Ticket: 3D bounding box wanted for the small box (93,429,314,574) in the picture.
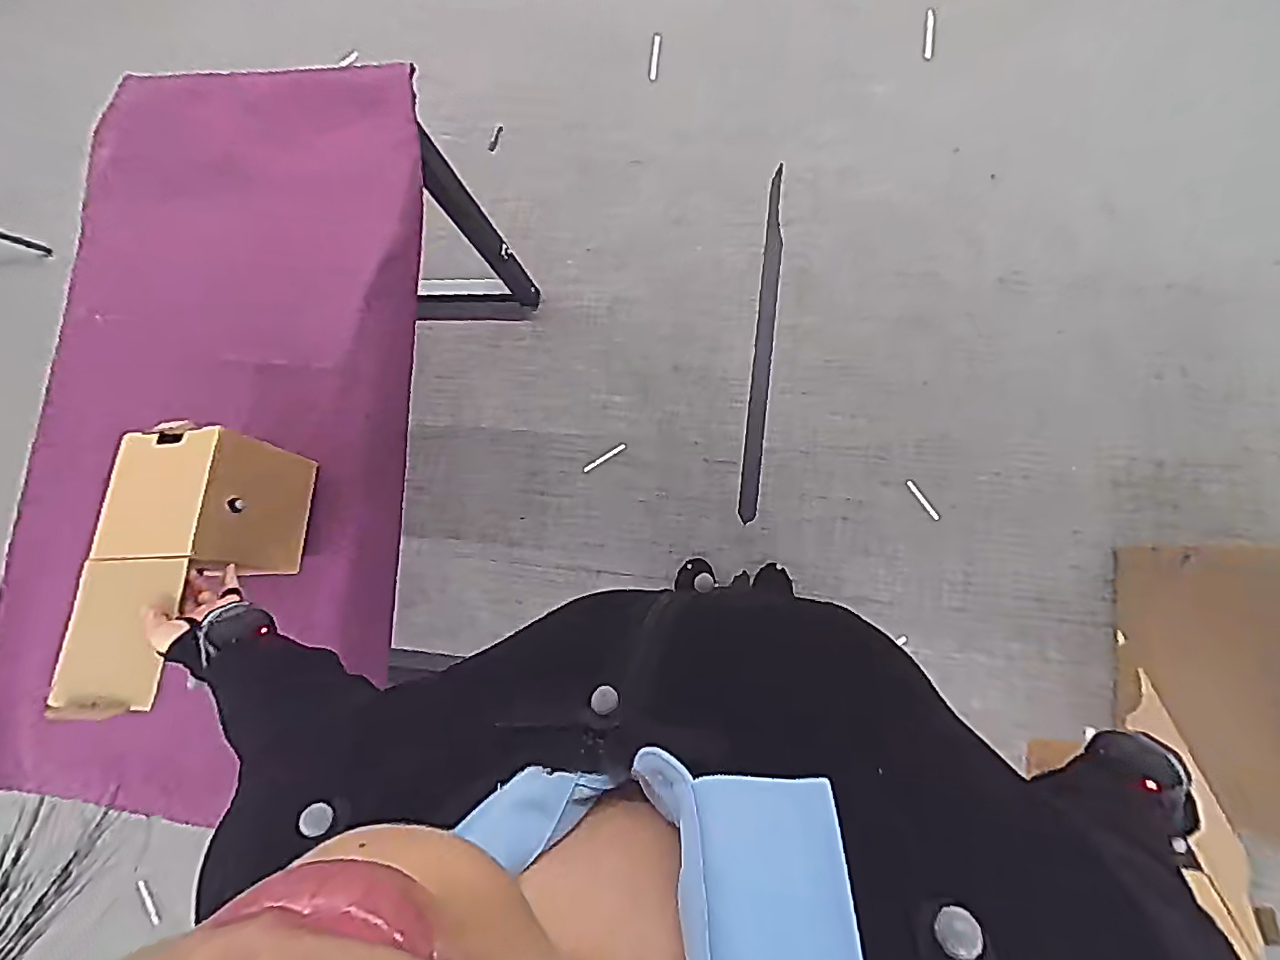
[{"bbox_3d":[-0.606,0.042,0.774,0.168,0.176,0.179,-4,73,12],"label":"small box"}]
